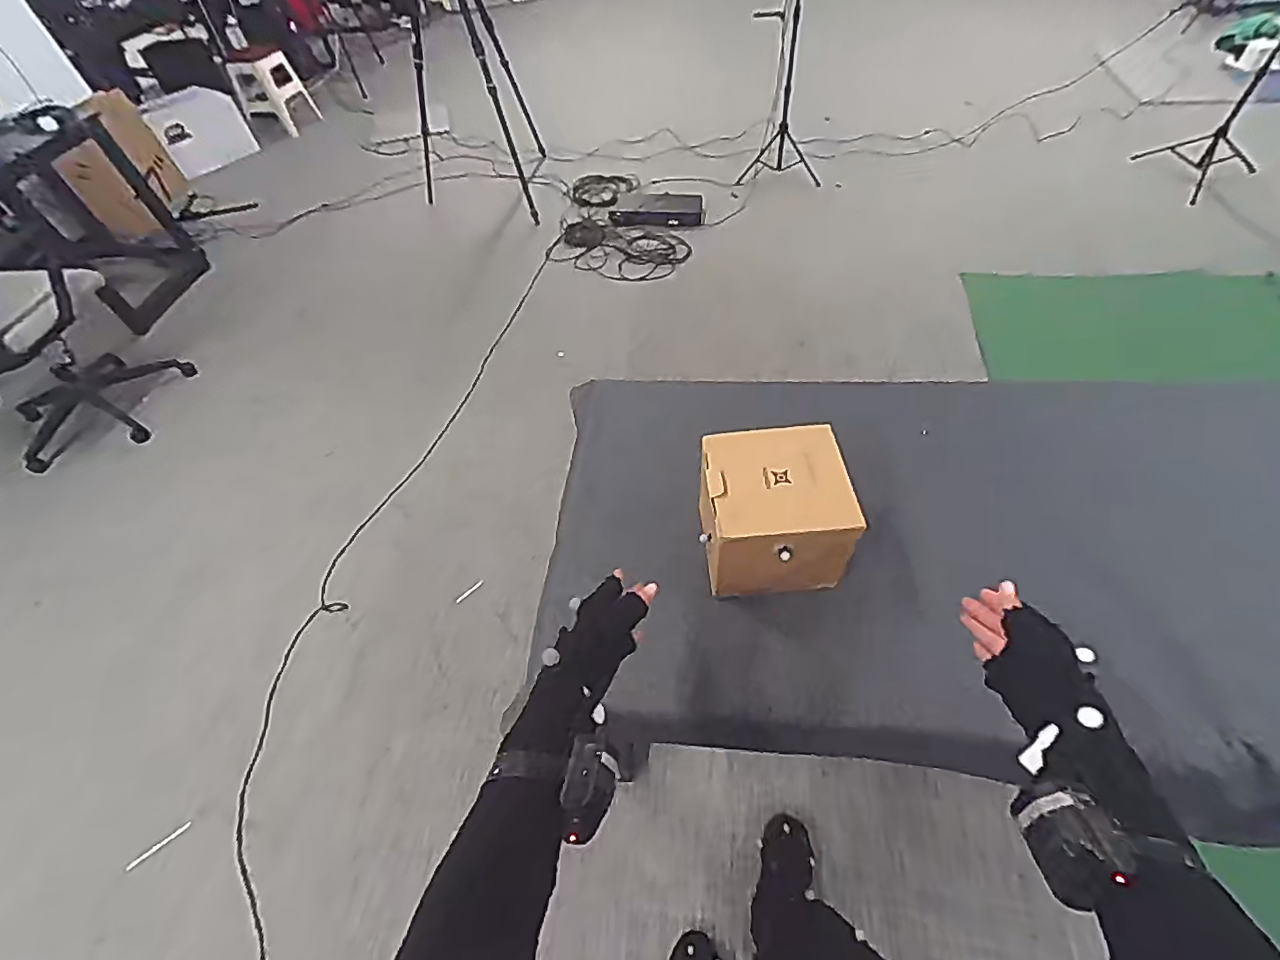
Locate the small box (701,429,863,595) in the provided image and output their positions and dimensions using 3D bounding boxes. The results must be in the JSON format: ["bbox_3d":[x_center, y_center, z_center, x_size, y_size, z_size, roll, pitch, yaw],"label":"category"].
[{"bbox_3d":[0.180,0.050,0.753,0.179,0.176,0.168,-5,54,0],"label":"small box"}]
